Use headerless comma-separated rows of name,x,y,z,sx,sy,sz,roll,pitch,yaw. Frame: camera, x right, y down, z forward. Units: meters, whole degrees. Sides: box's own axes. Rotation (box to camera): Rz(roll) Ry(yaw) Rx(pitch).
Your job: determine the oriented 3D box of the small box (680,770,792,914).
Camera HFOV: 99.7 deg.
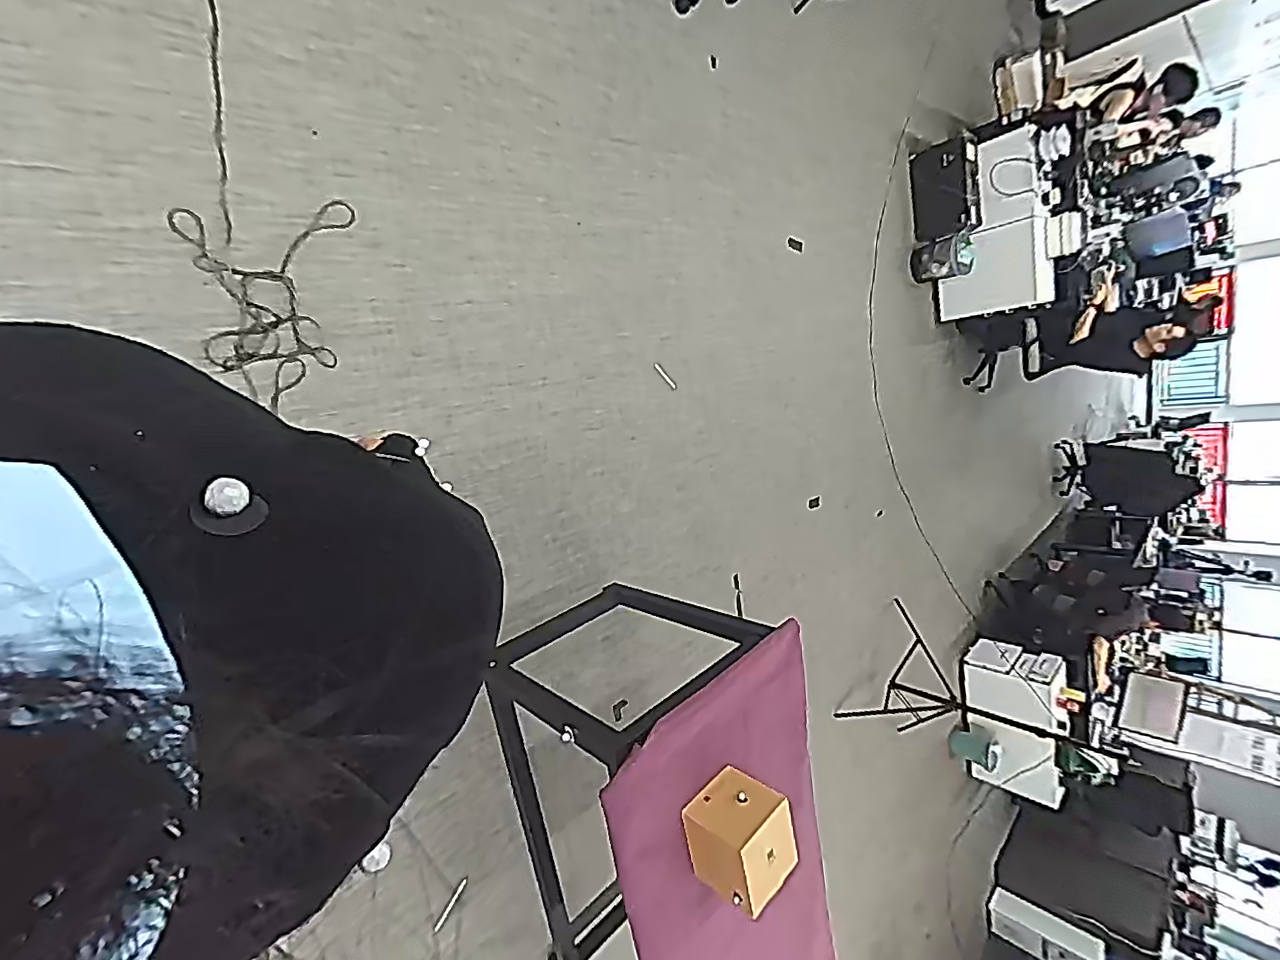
small box,0.207,0.773,1.185,0.168,0.176,0.179,-23,107,-39
